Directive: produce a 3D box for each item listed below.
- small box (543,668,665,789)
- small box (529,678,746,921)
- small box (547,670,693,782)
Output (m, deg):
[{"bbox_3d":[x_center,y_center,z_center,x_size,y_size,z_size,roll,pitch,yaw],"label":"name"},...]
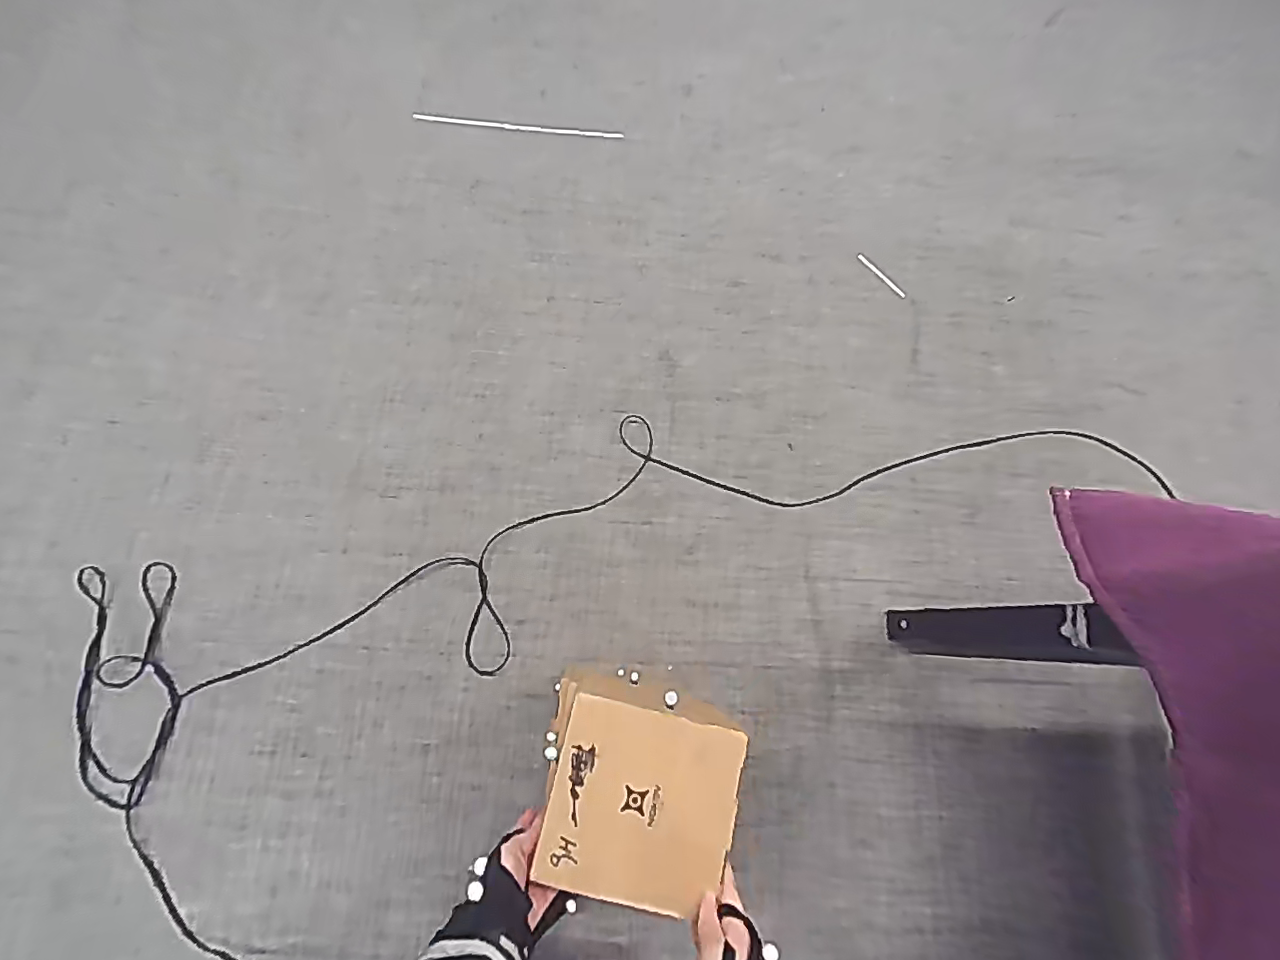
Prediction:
[{"bbox_3d":[-0.056,0.413,0.898,0.179,0.176,0.168,8,76,-4],"label":"small box"},{"bbox_3d":[-0.006,0.322,0.585,0.179,0.176,0.168,15,75,-2],"label":"small box"},{"bbox_3d":[-0.033,0.367,0.741,0.168,0.176,0.179,11,76,-2],"label":"small box"}]
